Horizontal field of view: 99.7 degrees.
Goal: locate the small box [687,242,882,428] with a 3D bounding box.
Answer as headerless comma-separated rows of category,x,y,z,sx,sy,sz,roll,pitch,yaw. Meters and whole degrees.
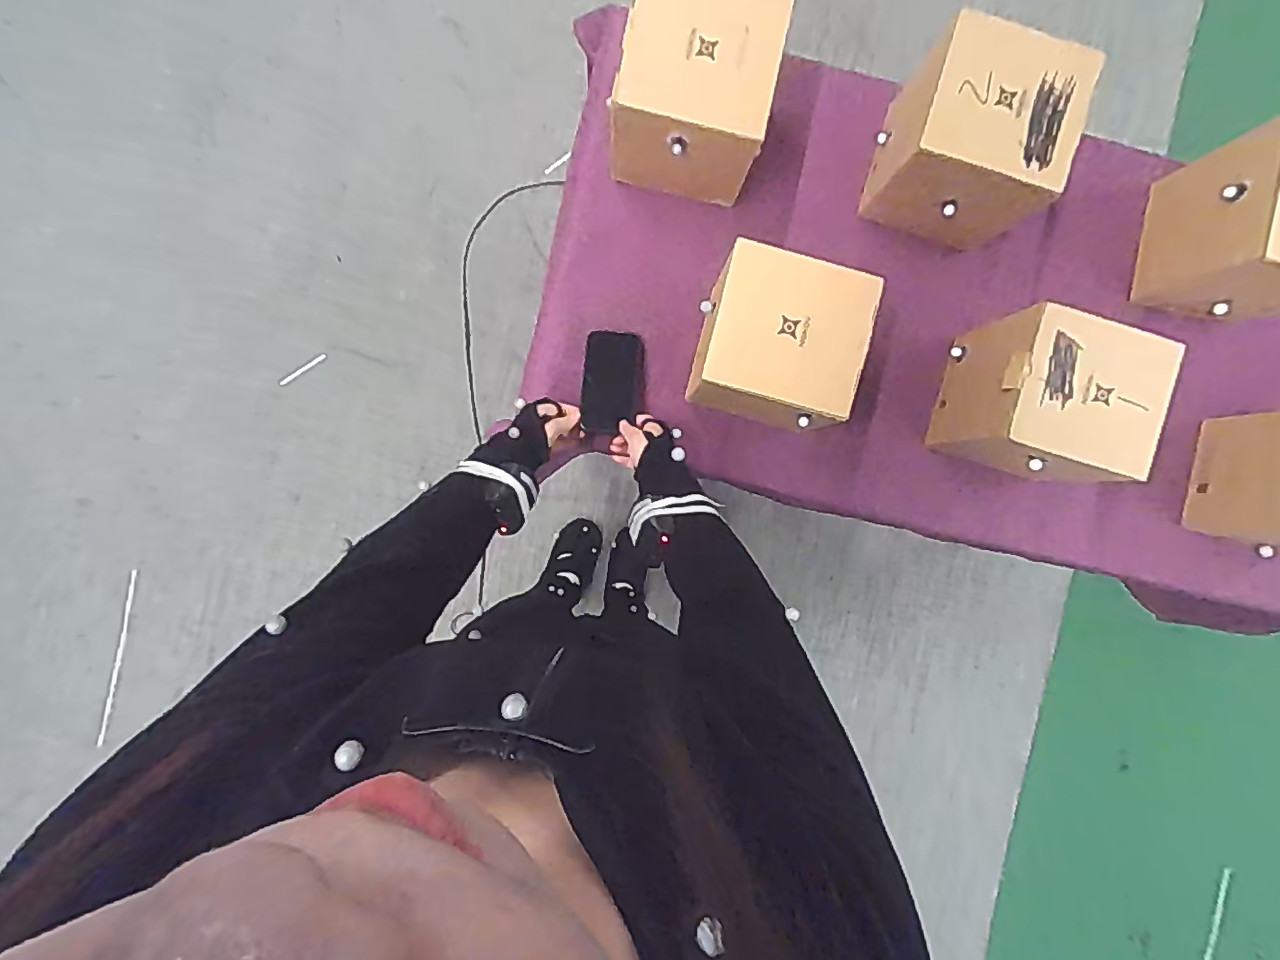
small box,0.168,-0.168,0.689,0.179,0.176,0.168,15,90,-3

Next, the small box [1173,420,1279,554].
small box,0.887,0.015,0.718,0.179,0.176,0.168,13,90,-3

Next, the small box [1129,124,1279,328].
small box,0.804,-0.321,0.710,0.168,0.176,0.179,11,91,-2

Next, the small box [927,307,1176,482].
small box,0.513,-0.099,0.703,0.179,0.176,0.168,17,90,-3
